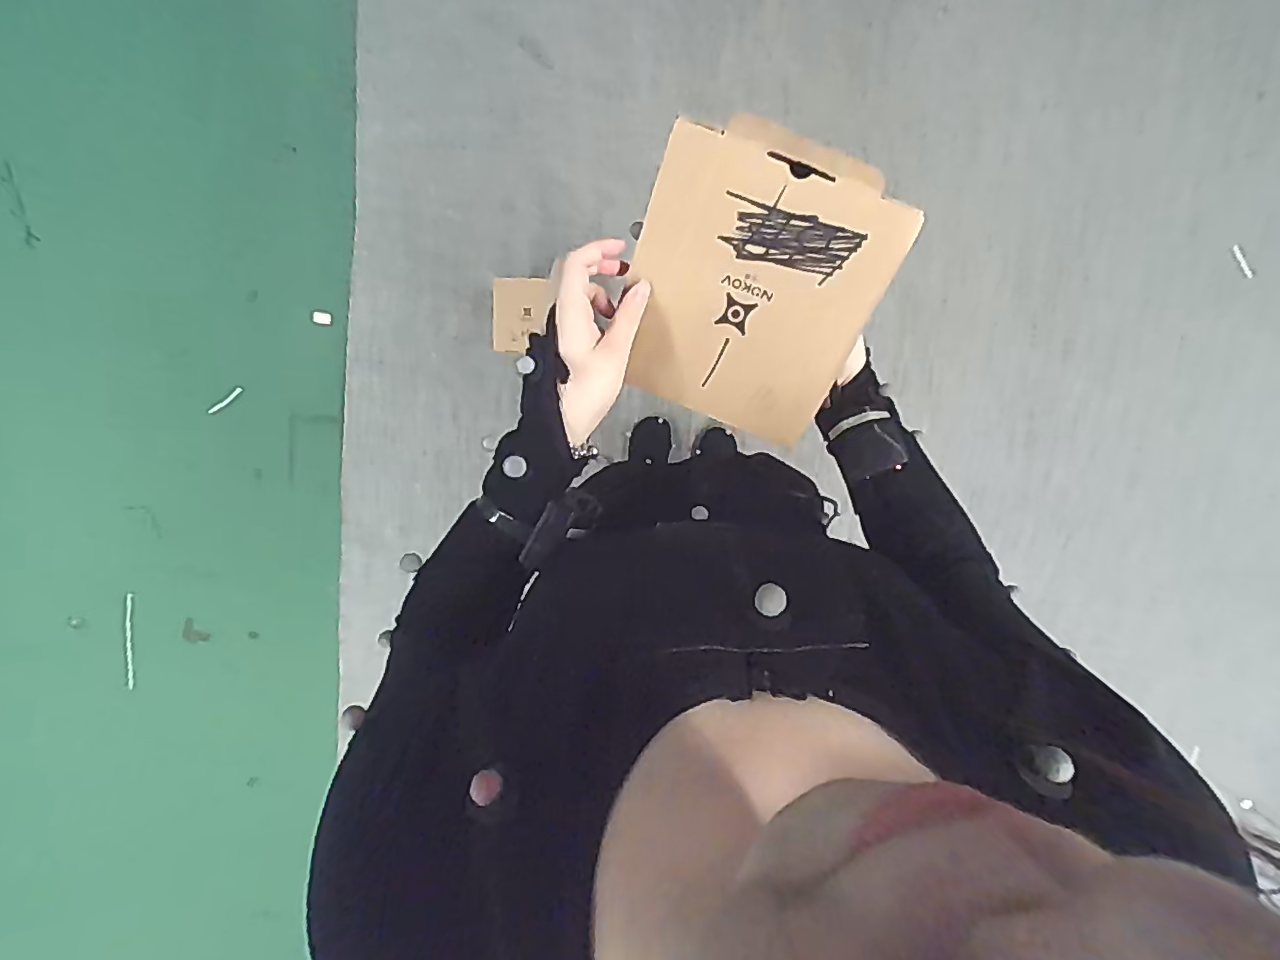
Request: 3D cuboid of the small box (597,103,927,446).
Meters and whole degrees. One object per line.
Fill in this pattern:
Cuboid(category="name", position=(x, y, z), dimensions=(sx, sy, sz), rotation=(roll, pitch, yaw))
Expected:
Cuboid(category="small box", position=(0.084, -0.160, 0.430), dimensions=(0.168, 0.176, 0.179), rotation=(22, 120, 1))

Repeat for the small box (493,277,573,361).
Cuboid(category="small box", position=(-0.266, -0.400, 1.365), dimensions=(0.168, 0.176, 0.179), rotation=(3, 97, 2))
